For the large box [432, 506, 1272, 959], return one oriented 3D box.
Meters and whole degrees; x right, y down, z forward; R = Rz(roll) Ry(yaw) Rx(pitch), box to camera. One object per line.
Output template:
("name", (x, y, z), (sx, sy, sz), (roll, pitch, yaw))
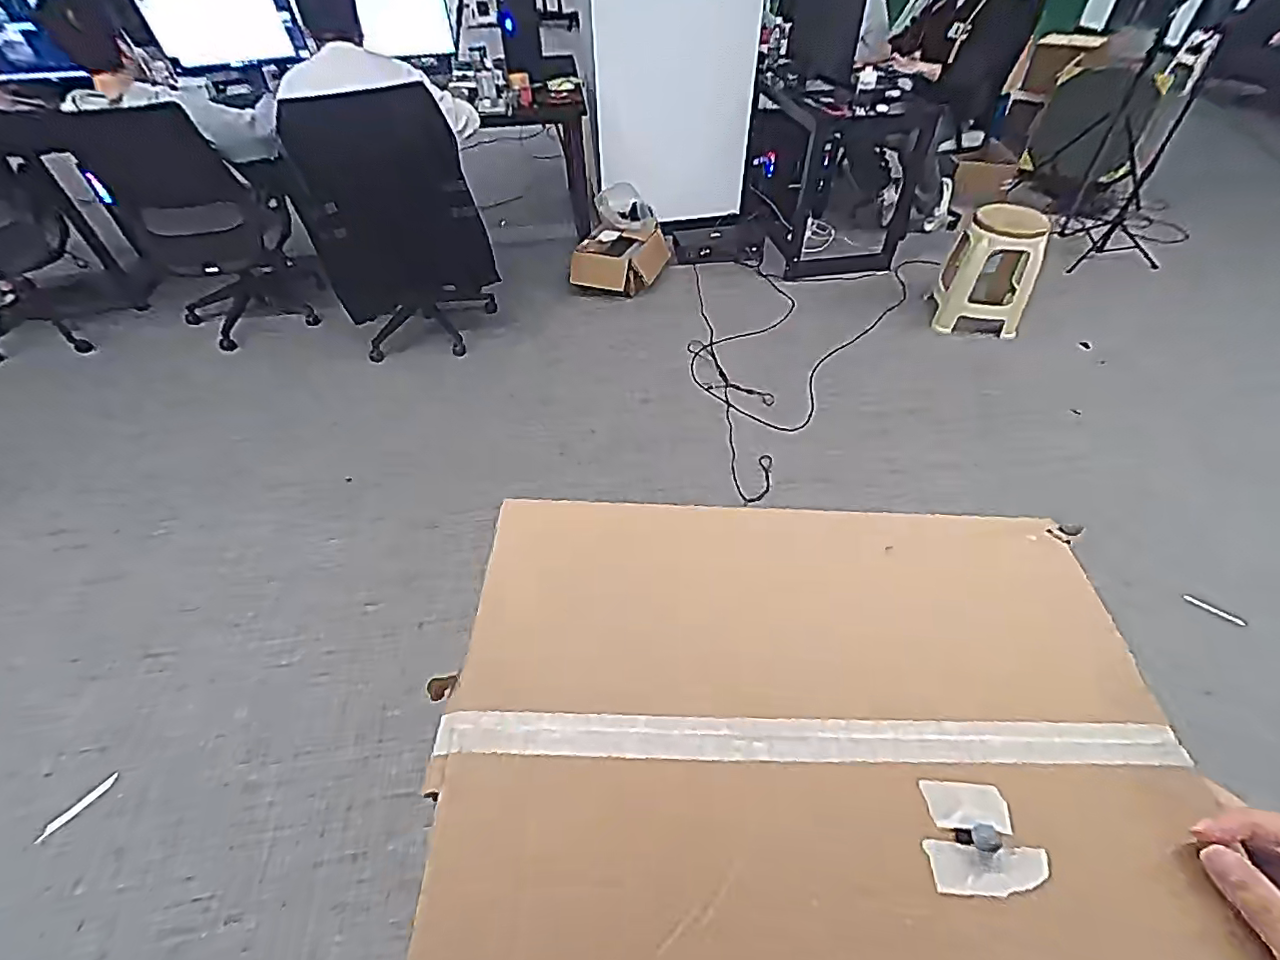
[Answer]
("large box", (0.093, 0.238, 0.427), (0.408, 0.320, 0.320), (3, 52, -2))
